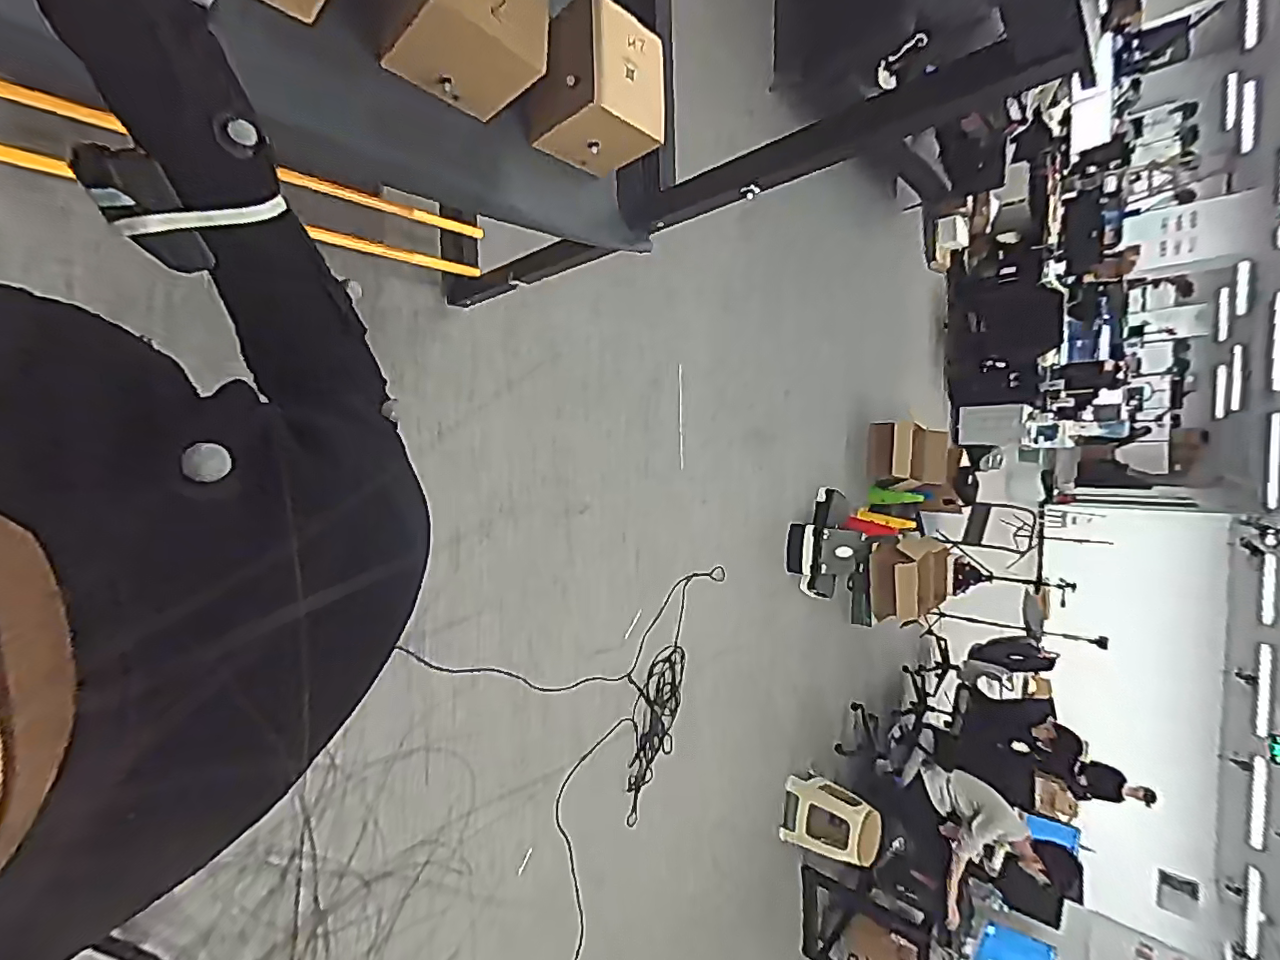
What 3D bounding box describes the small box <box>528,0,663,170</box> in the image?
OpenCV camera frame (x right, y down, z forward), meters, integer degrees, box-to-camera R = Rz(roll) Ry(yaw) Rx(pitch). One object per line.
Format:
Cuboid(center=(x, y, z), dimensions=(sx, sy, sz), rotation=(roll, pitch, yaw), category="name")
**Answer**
Cuboid(center=(-0.078, -0.671, 0.930), dimensions=(0.168, 0.176, 0.179), rotation=(-5, 94, -47), category="small box")
